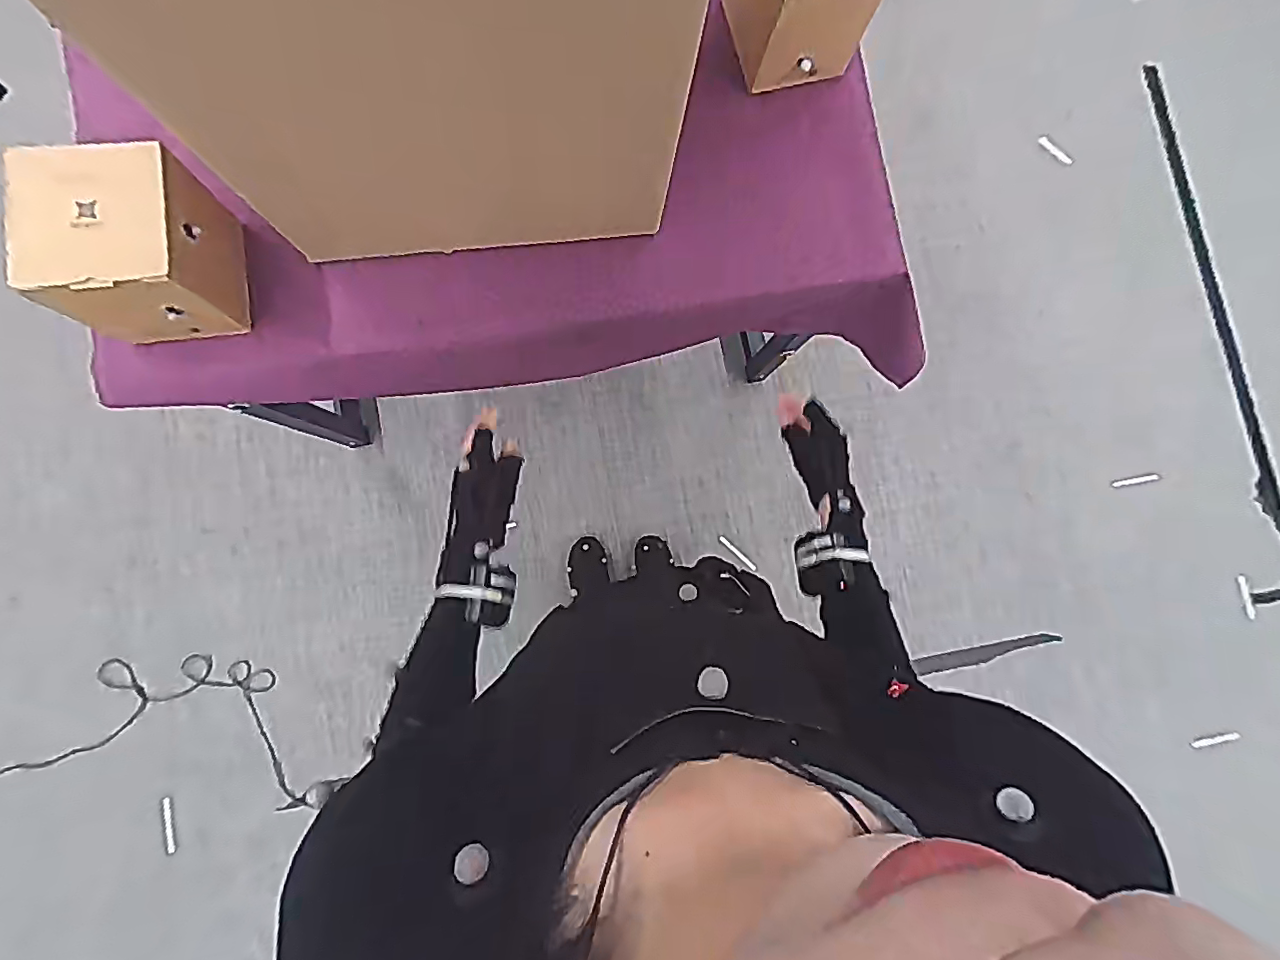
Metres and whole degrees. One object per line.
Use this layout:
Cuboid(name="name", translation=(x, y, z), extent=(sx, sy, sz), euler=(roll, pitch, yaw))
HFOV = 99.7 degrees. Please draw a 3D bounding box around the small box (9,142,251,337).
Cuboid(name="small box", translation=(-0.640, -0.296, 0.701), extent=(0.168, 0.176, 0.179), euler=(-8, 83, -9))
